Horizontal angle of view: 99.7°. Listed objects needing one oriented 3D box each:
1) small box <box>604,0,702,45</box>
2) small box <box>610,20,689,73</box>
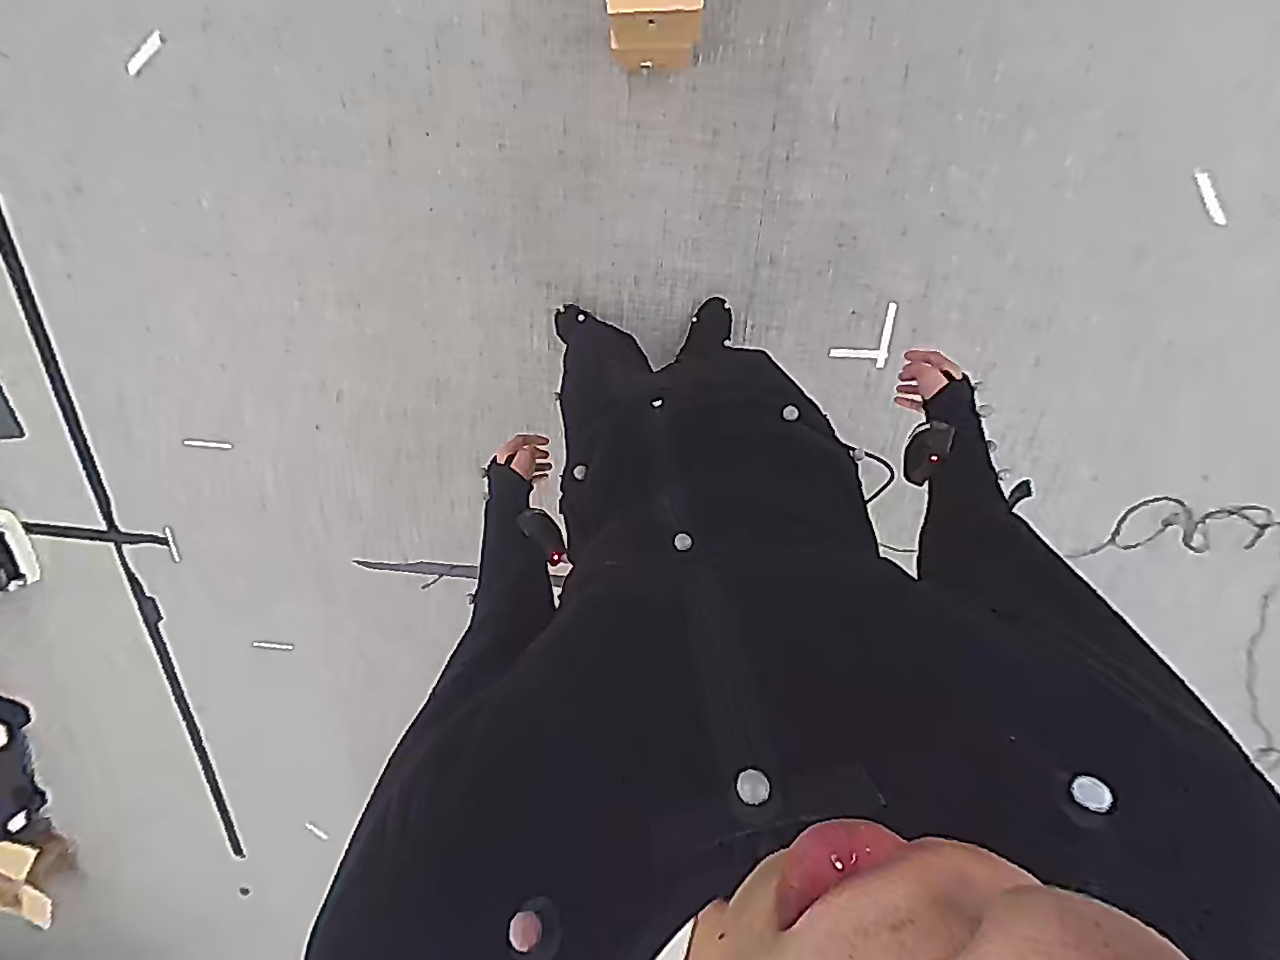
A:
[{"bbox_3d":[0.029,-0.938,1.006,0.179,0.176,0.168,1,114,3],"label":"small box"},{"bbox_3d":[0.024,-1.003,1.157,0.168,0.176,0.179,2,114,3],"label":"small box"}]
